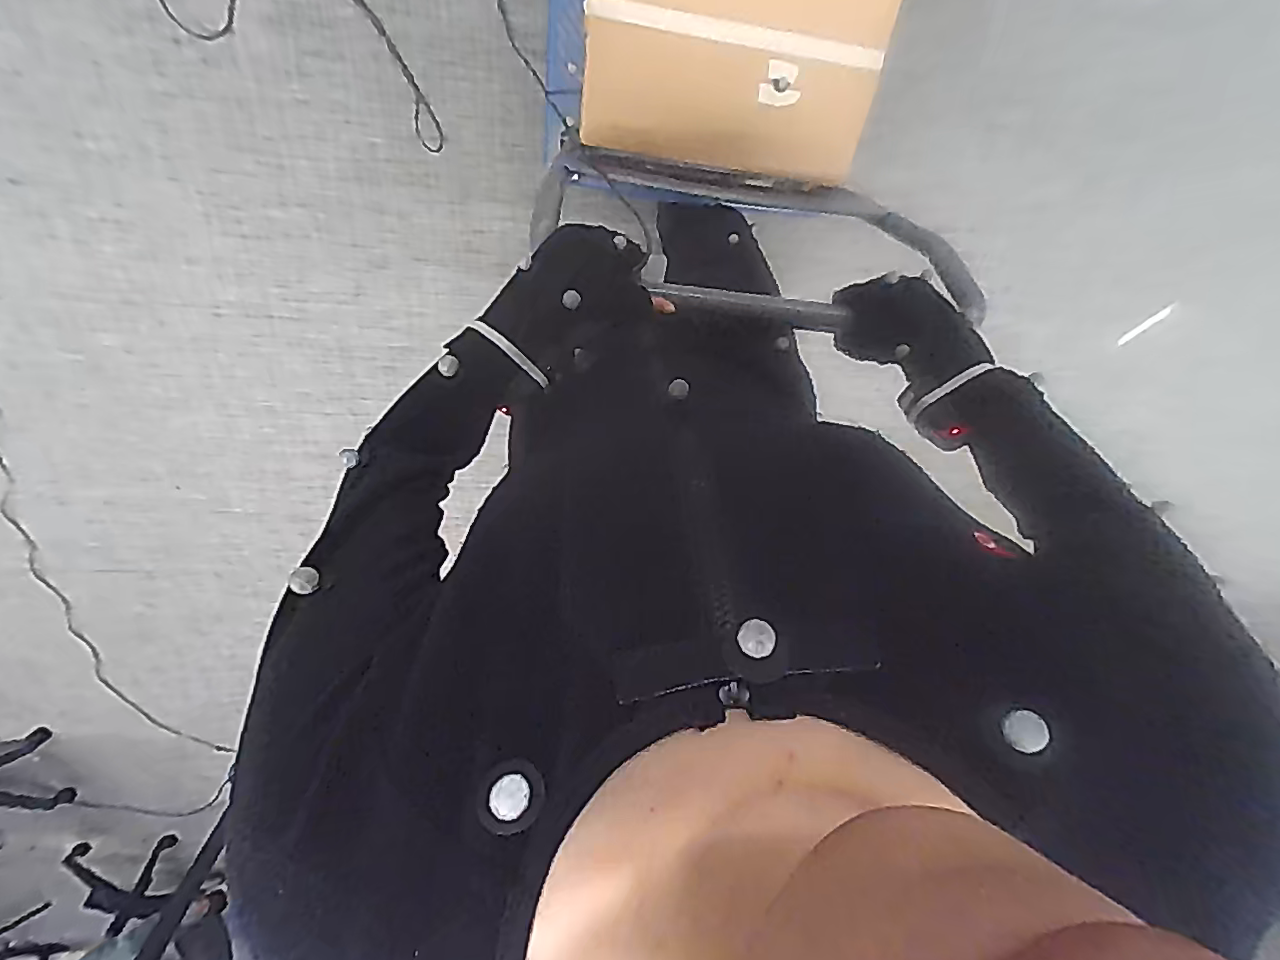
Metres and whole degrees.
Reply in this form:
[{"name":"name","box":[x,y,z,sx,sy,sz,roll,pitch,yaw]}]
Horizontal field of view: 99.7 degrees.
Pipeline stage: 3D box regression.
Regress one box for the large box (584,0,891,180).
[{"name":"large box","box":[0.119,-0.688,0.856,0.408,0.320,0.320,4,124,-8]}]
